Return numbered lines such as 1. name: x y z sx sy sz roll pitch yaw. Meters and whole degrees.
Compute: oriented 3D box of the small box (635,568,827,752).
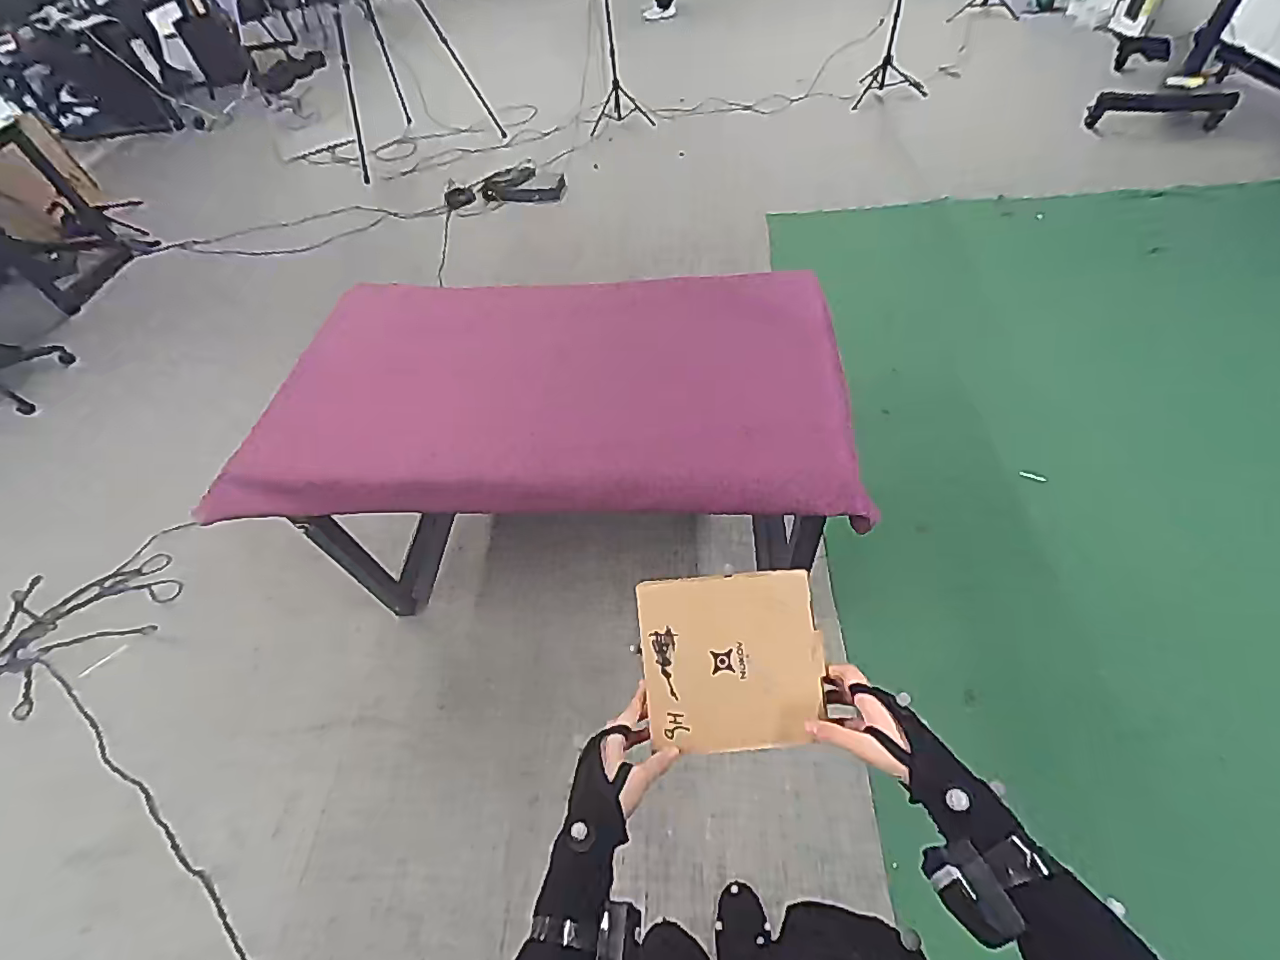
1. small box: 0.089 0.188 0.608 0.179 0.176 0.168 -6 78 1
